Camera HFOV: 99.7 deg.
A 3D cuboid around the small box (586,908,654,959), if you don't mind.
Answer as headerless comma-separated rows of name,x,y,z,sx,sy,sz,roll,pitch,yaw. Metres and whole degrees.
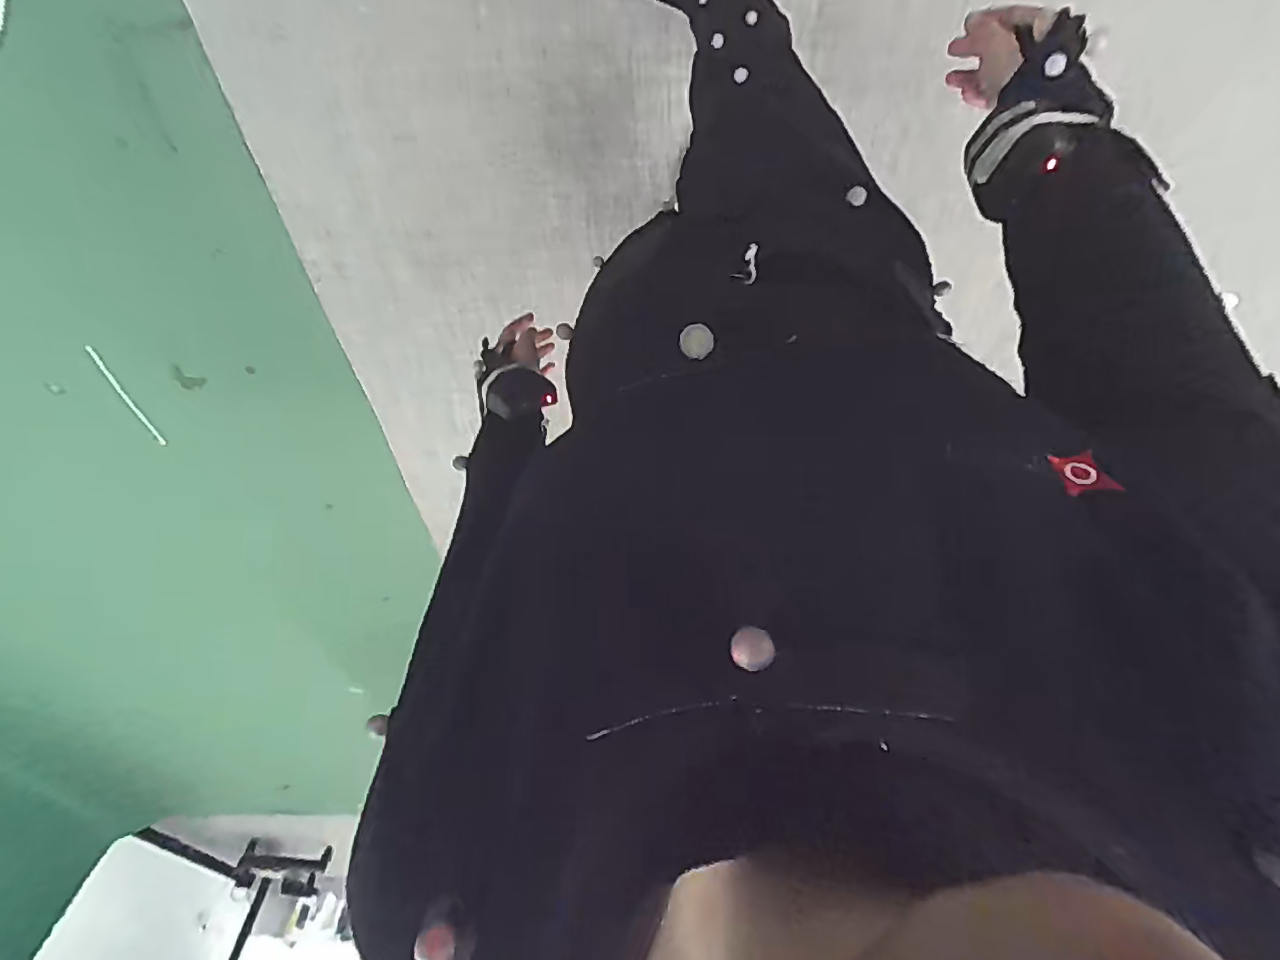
small box,-0.050,1.256,1.438,0.179,0.176,0.168,0,133,3
